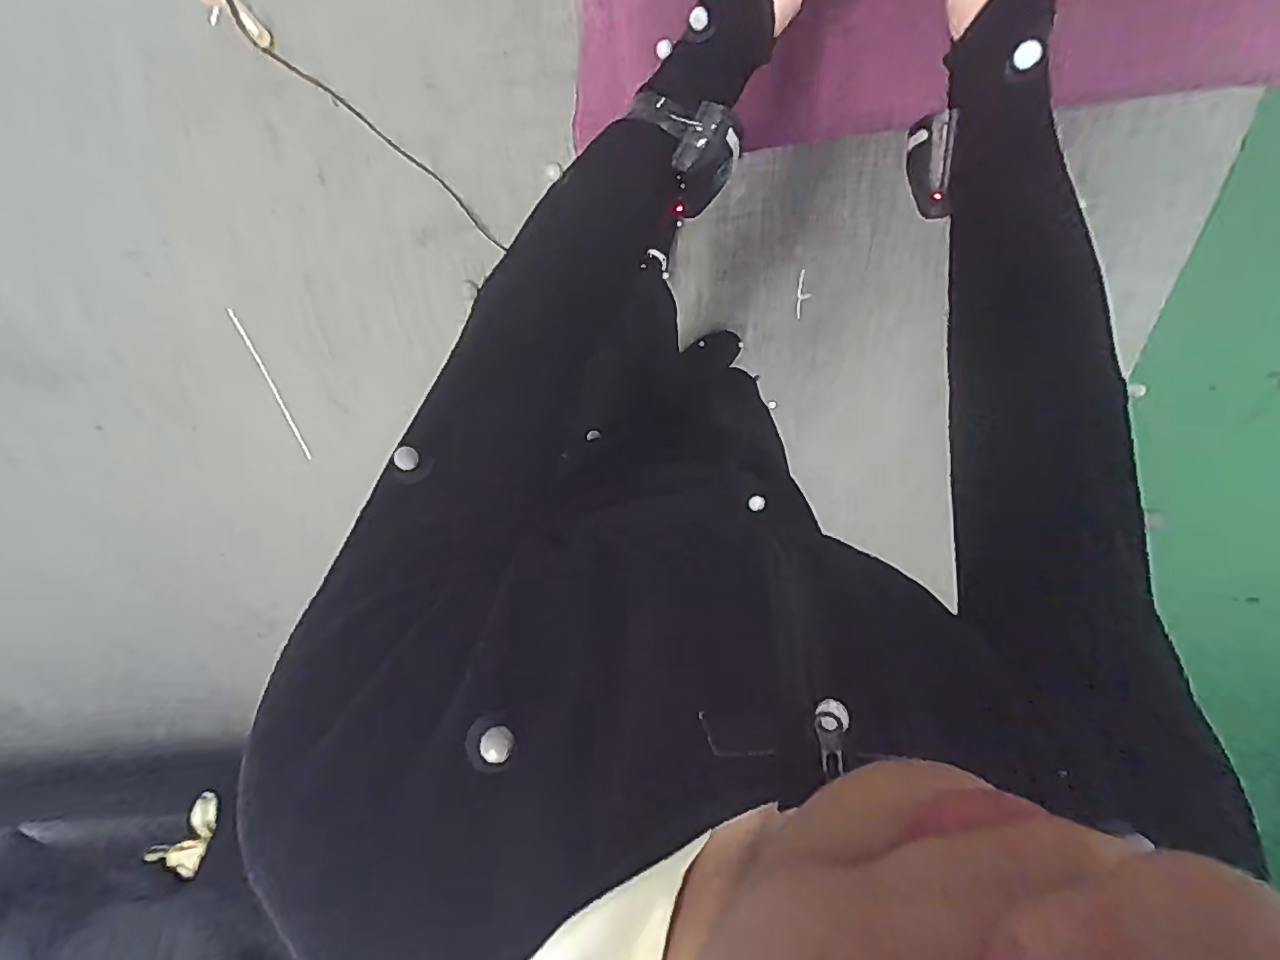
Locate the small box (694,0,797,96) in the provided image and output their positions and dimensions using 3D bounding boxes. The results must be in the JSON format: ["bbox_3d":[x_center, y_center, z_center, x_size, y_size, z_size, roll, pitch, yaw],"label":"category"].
[{"bbox_3d":[0.199,-0.865,1.068,0.179,0.176,0.168,-2,125,1],"label":"small box"}]
